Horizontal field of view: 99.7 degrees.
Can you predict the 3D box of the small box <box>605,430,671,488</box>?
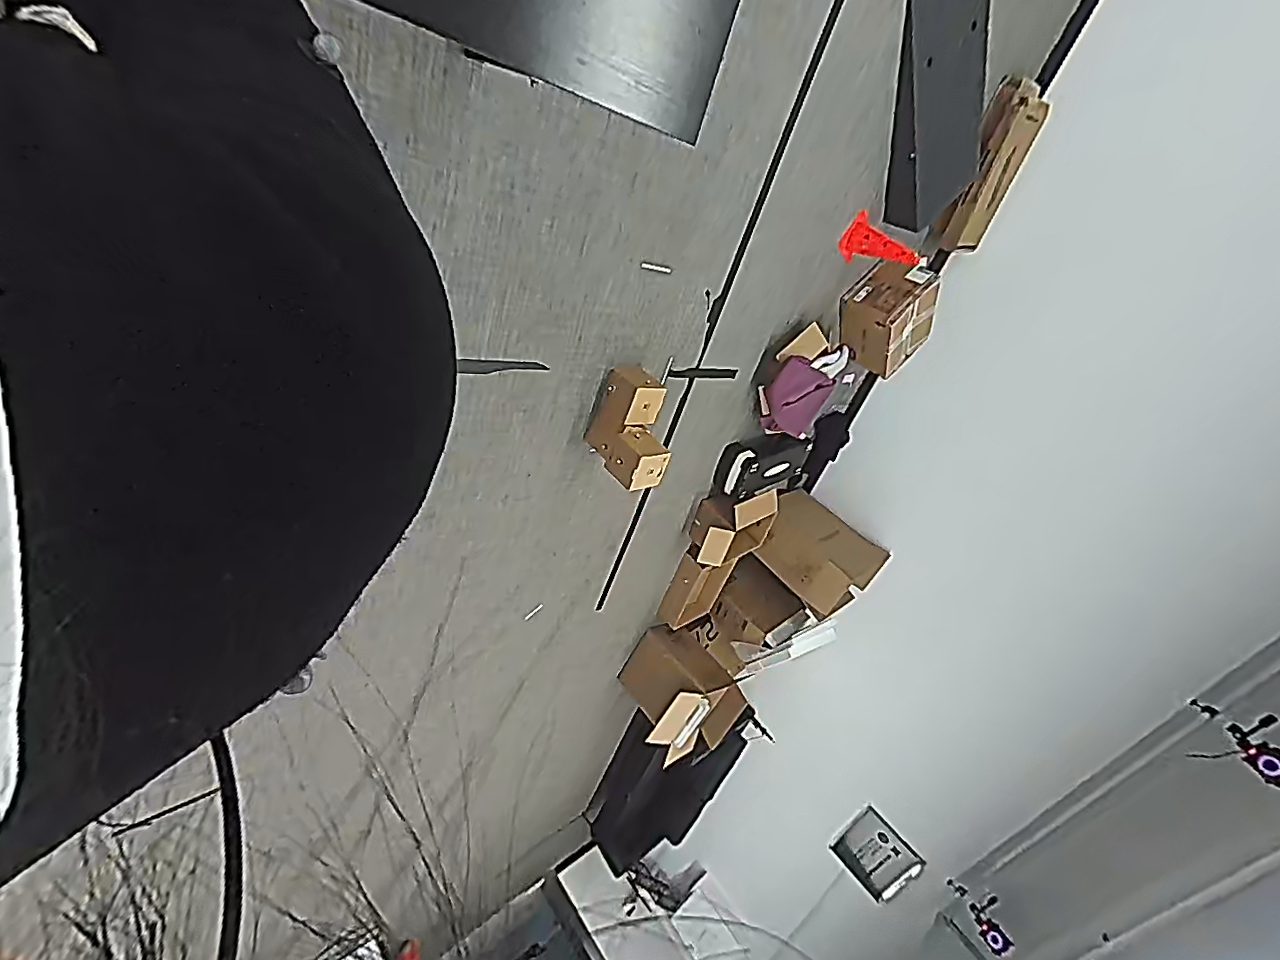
[{"bbox_3d":[-0.014,-0.090,2.185,0.179,0.176,0.168,-10,132,-43],"label":"small box"}]
